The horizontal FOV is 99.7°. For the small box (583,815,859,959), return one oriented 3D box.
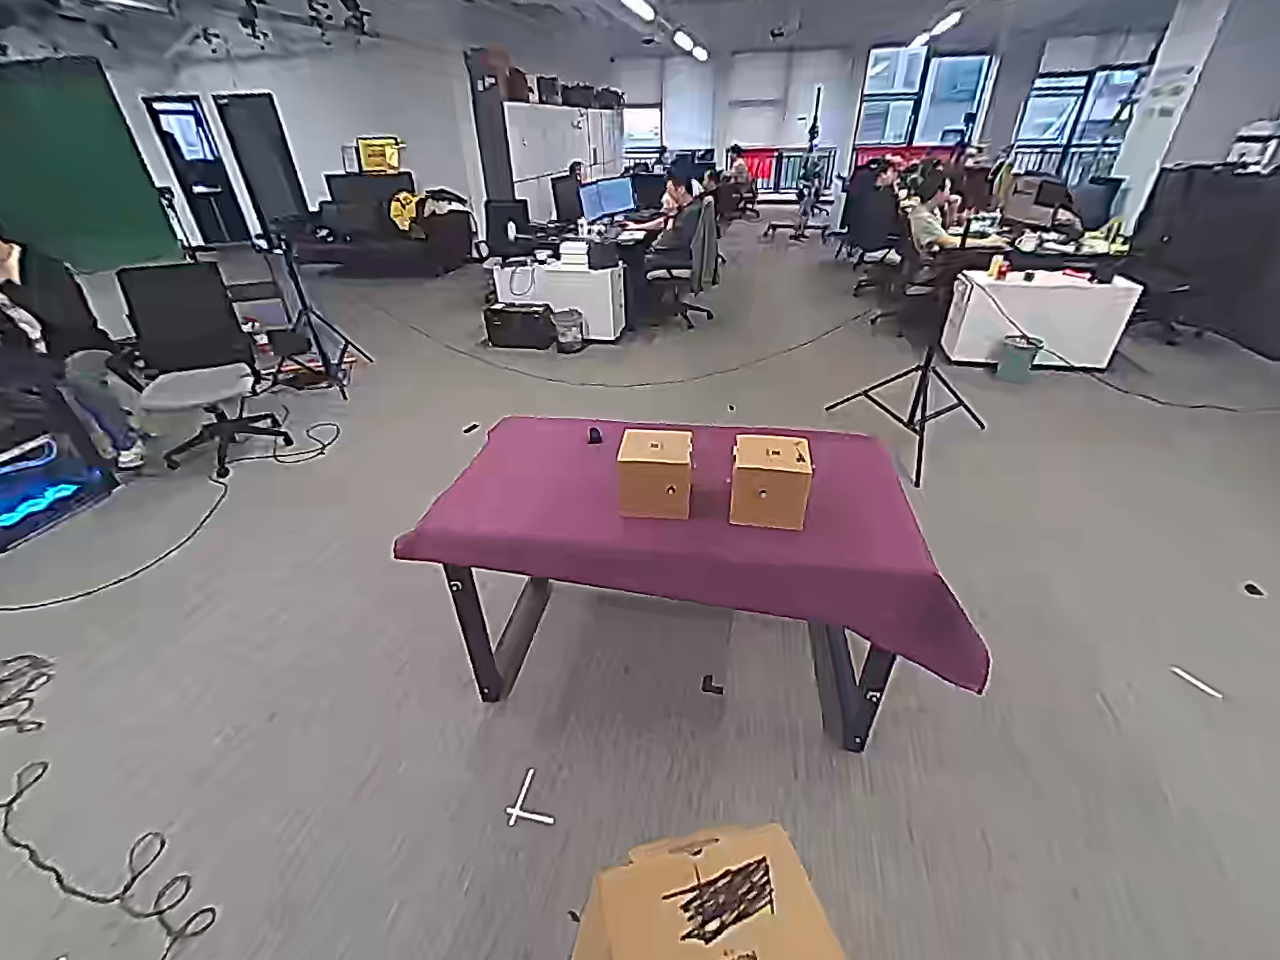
[{"bbox_3d":[0.059,0.400,0.408,0.168,0.176,0.179,-1,33,-20],"label":"small box"}]

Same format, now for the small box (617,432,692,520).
[{"bbox_3d":[0.042,-0.010,1.380,0.179,0.176,0.168,1,31,6],"label":"small box"}]

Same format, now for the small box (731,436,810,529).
[{"bbox_3d":[0.318,0.006,1.339,0.179,0.176,0.168,4,33,10],"label":"small box"}]
